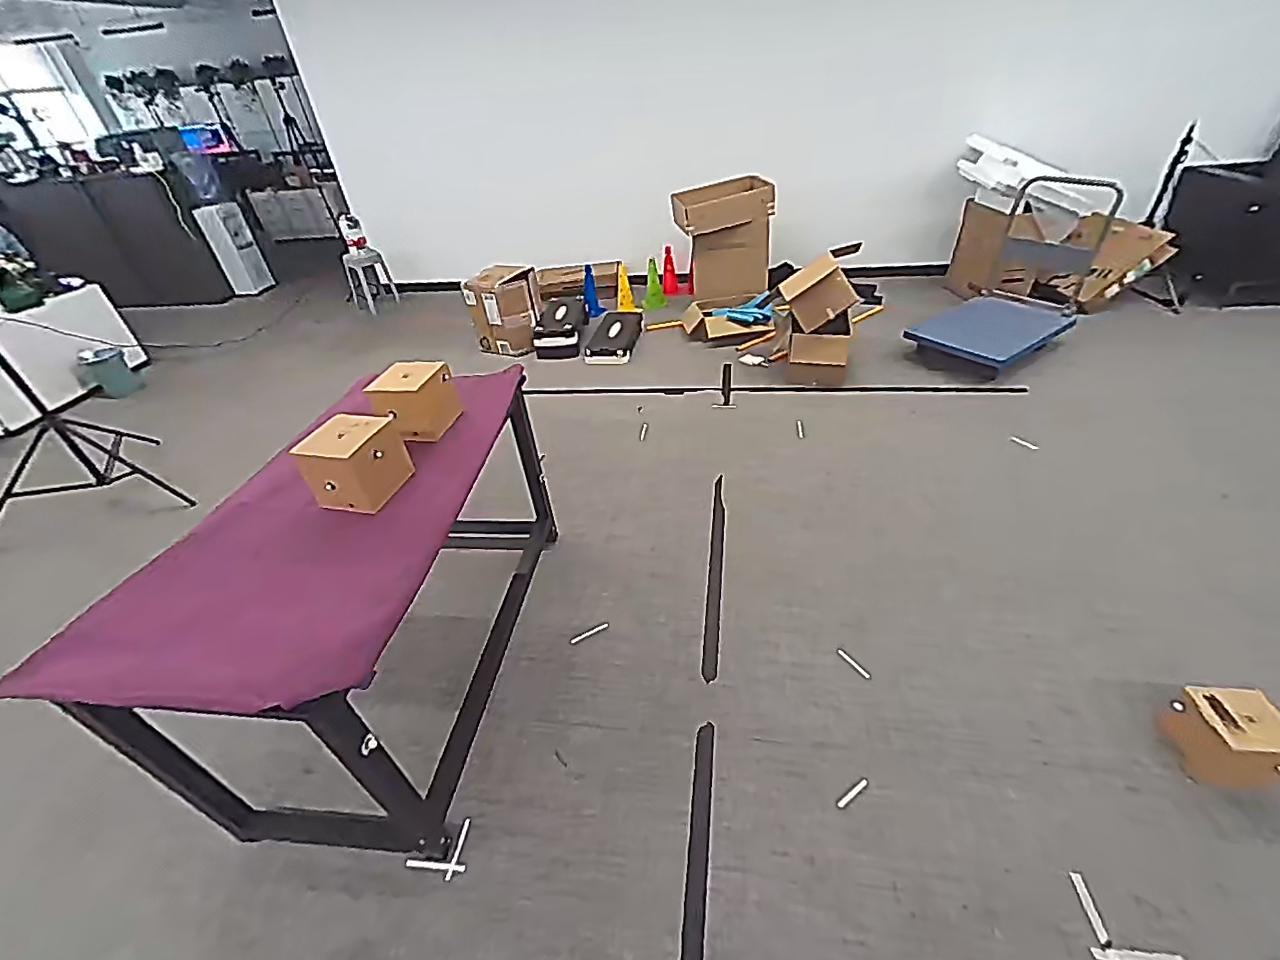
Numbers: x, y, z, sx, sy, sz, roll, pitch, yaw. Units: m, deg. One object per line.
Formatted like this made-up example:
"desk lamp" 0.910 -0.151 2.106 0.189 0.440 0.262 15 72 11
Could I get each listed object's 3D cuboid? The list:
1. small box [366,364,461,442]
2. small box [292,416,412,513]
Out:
"small box" -0.643 -0.220 1.561 0.168 0.176 0.179 2 38 12
"small box" -0.694 -0.038 1.329 0.168 0.176 0.179 6 38 14
